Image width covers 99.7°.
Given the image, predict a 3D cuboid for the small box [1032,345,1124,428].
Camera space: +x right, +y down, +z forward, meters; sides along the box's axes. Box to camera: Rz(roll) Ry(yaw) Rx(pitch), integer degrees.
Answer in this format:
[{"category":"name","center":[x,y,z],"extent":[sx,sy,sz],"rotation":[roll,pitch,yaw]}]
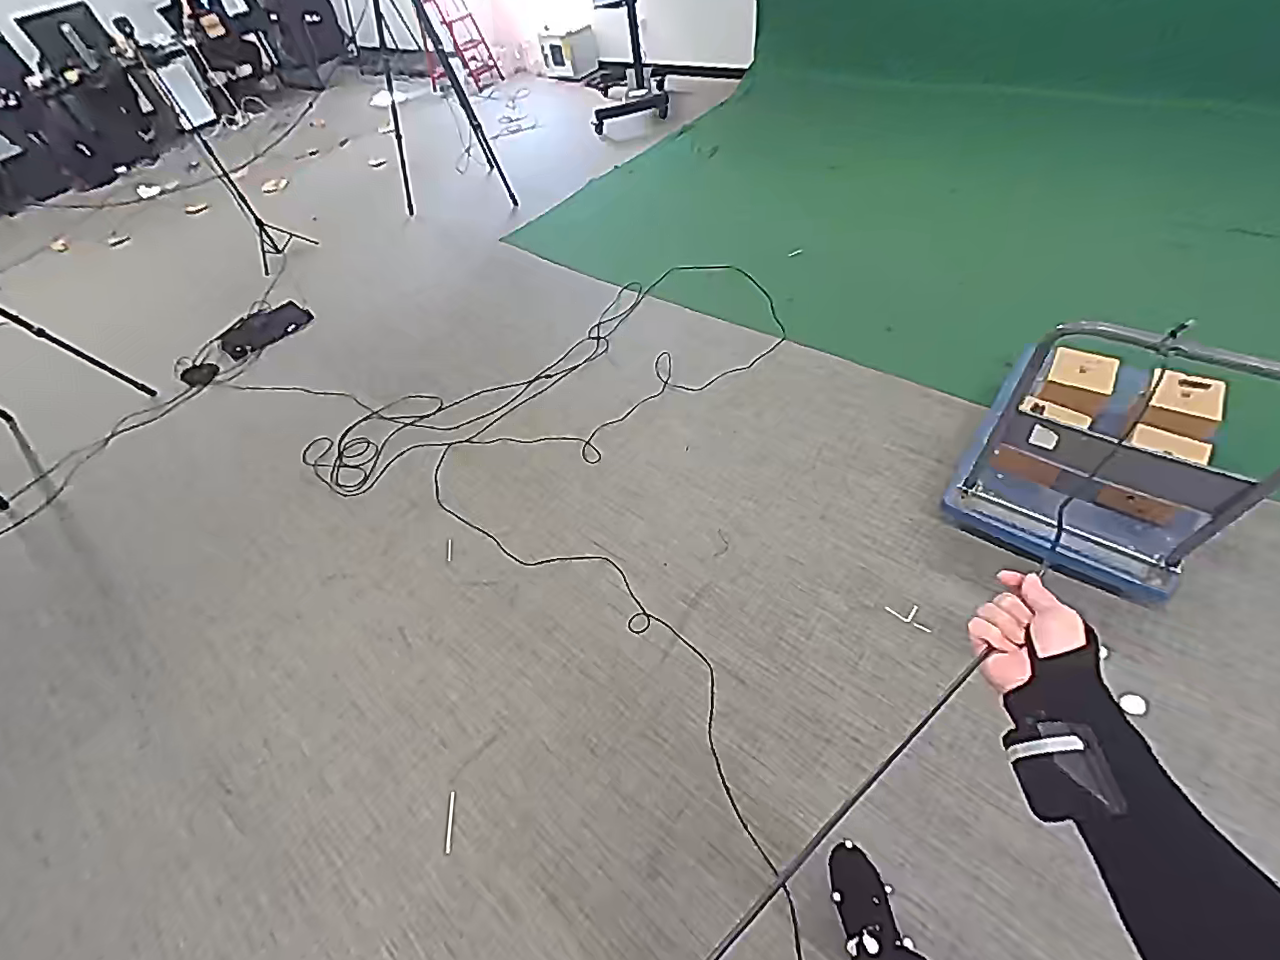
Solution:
[{"category":"small box","center":[1.386,-0.295,1.720],"extent":[0.168,0.176,0.179],"rotation":[24,60,27]}]

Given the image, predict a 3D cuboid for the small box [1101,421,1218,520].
[{"category":"small box","center":[1.426,-0.024,1.494],"extent":[0.168,0.176,0.179],"rotation":[29,63,29]}]

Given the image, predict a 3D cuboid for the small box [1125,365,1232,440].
[{"category":"small box","center":[1.591,-0.206,1.605],"extent":[0.168,0.176,0.179],"rotation":[24,61,28]}]
